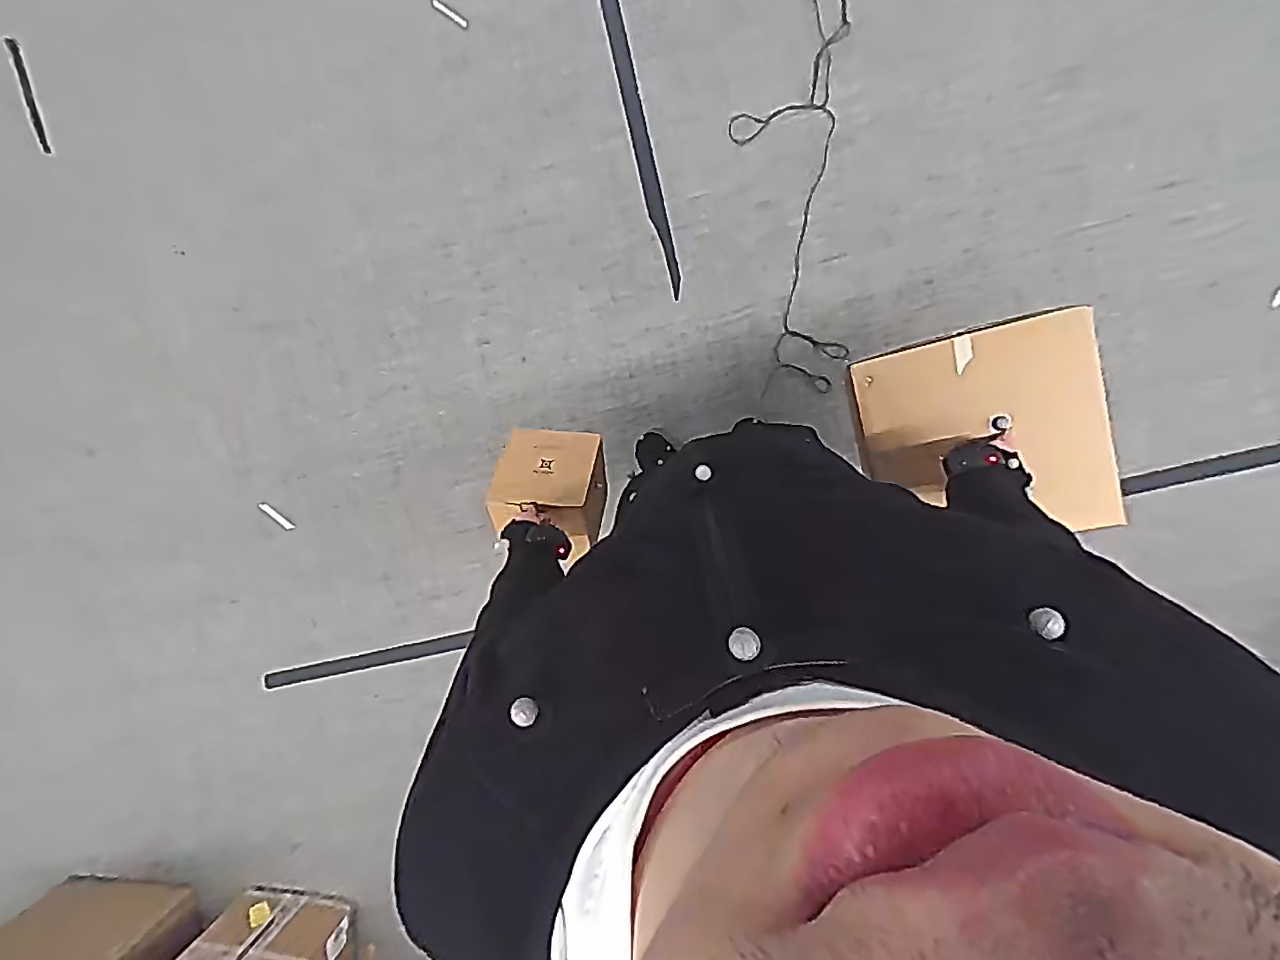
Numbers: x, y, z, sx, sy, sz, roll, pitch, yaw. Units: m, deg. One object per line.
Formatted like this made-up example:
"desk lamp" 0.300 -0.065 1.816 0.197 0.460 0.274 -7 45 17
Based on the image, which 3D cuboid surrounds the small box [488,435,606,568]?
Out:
"small box" -0.158 0.041 0.990 0.168 0.179 0.176 5 135 6
